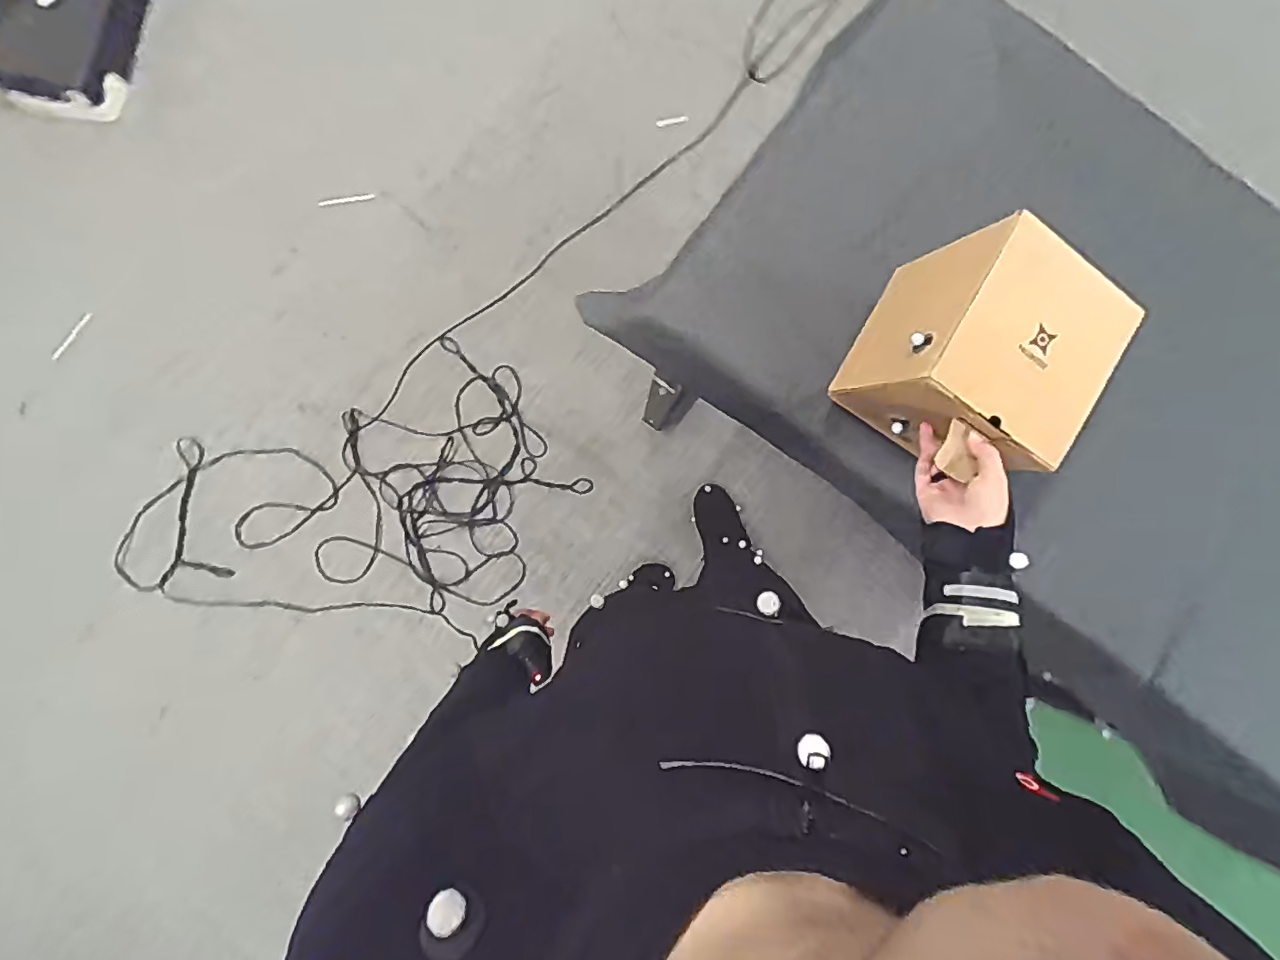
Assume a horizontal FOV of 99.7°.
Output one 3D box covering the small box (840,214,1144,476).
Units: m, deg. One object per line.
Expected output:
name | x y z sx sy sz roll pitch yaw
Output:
small box | 0.343 -0.125 0.559 0.168 0.176 0.179 31 88 -13
